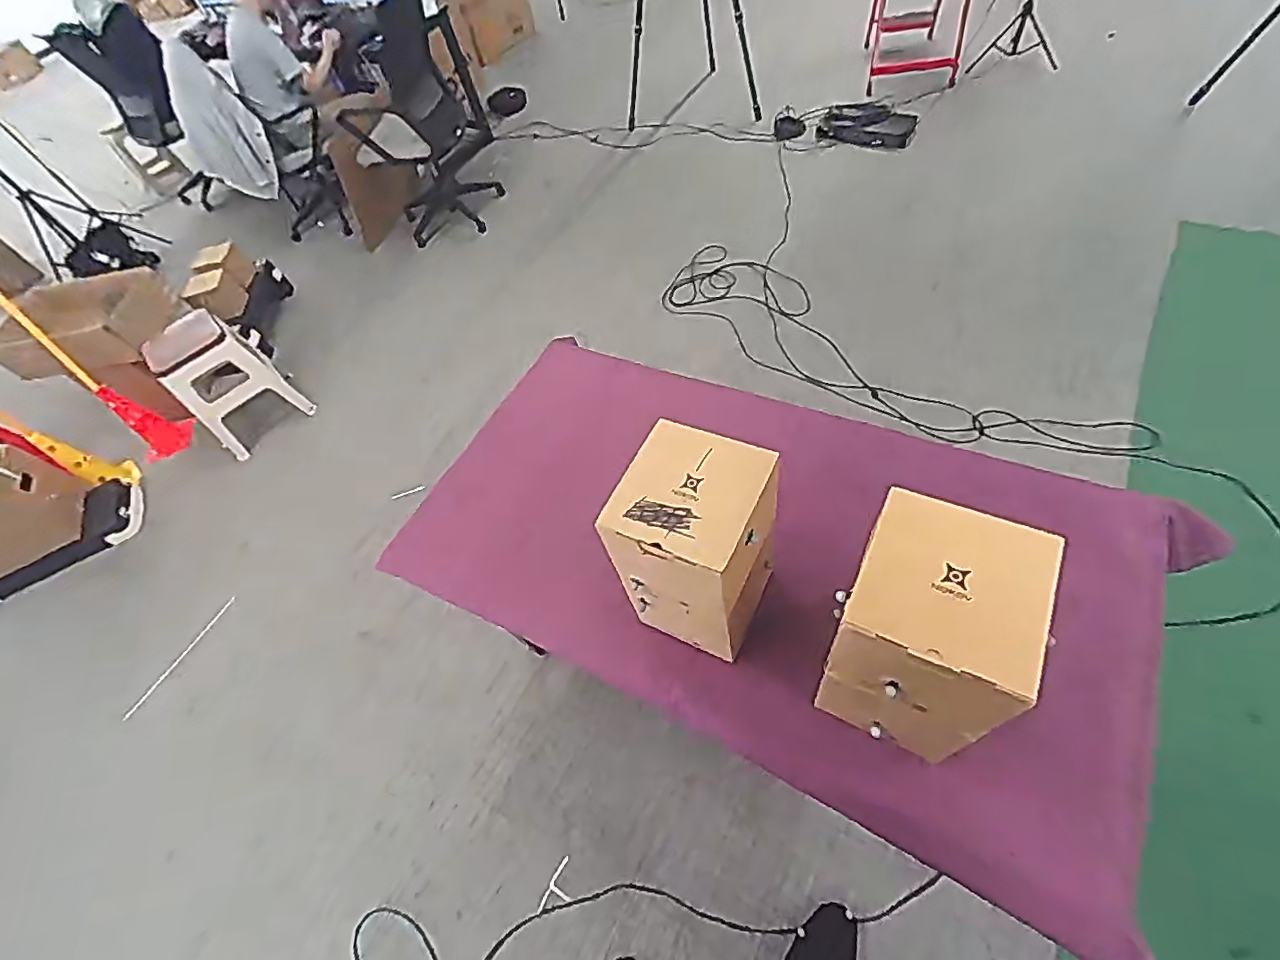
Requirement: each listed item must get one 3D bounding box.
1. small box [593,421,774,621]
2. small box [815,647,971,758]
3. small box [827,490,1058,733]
[{"bbox_3d":[0.067,0.057,0.707,0.168,0.176,0.179,20,61,23],"label":"small box"},{"bbox_3d":[0.344,0.241,0.724,0.168,0.176,0.179,20,62,24],"label":"small box"},{"bbox_3d":[0.317,0.146,0.595,0.168,0.176,0.179,20,62,23],"label":"small box"}]
